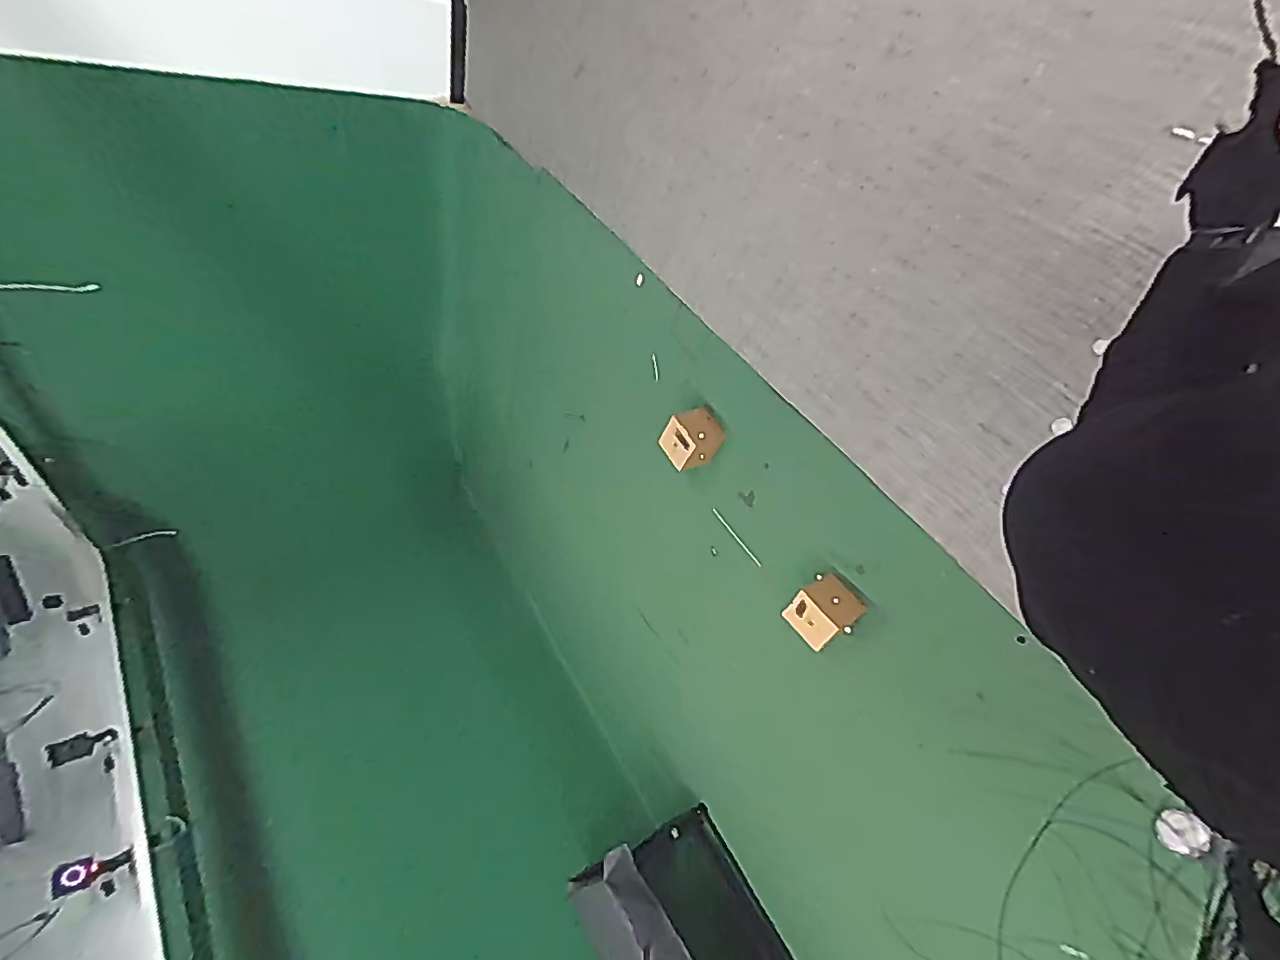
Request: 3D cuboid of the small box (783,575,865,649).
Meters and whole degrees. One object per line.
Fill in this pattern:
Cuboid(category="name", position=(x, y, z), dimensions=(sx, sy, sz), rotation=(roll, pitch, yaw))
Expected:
Cuboid(category="small box", position=(0.647, 0.455, 1.904), dimensions=(0.179, 0.176, 0.168), rotation=(49, 141, 27))
